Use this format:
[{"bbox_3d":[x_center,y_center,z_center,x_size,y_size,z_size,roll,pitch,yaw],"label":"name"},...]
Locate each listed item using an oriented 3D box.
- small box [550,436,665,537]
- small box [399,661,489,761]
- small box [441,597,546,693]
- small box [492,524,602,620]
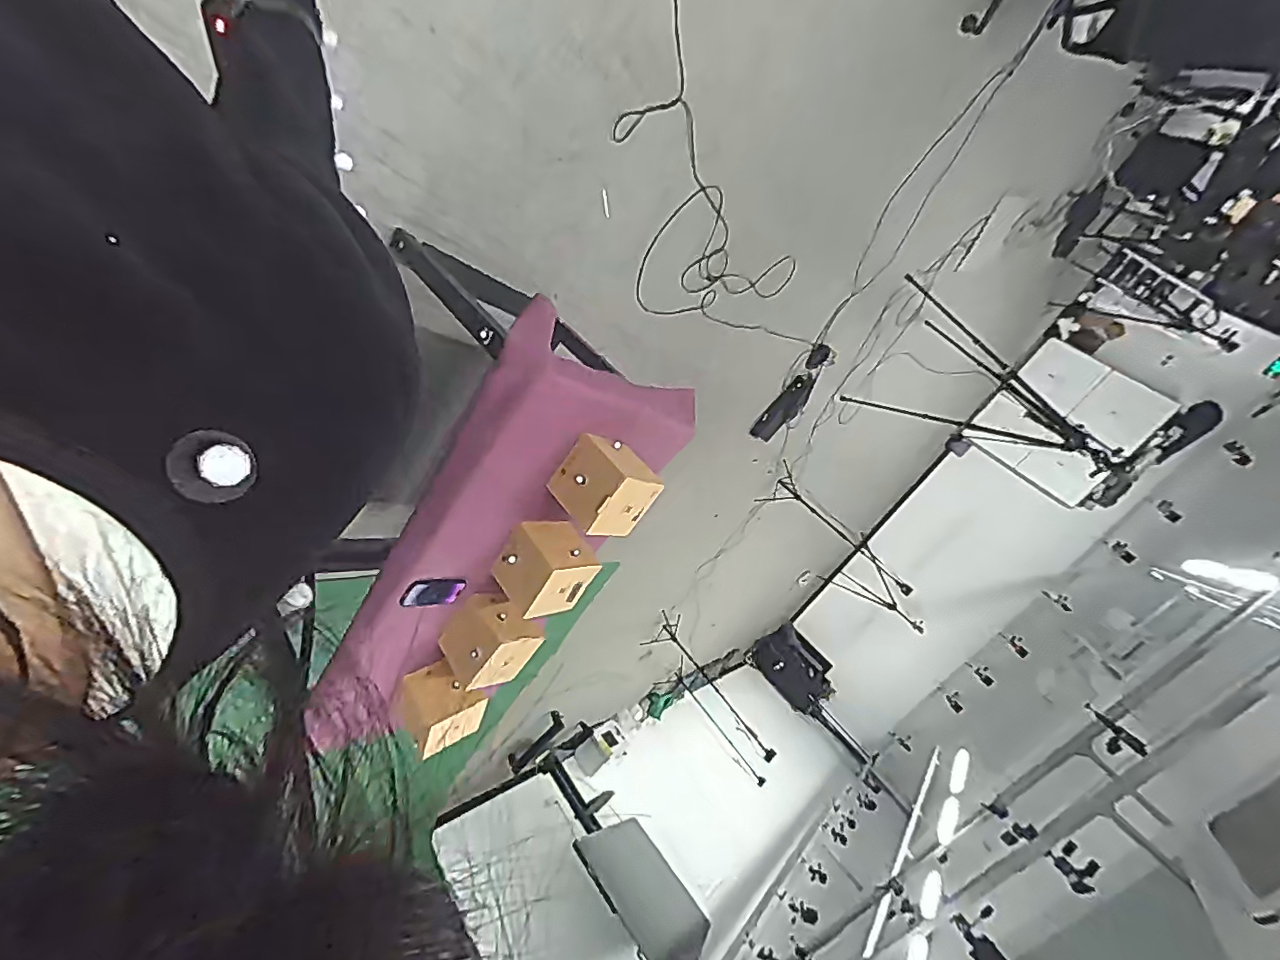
[{"bbox_3d":[-0.081,0.016,1.283,0.168,0.176,0.179,-53,150,15],"label":"small box"},{"bbox_3d":[-0.543,0.620,1.484,0.168,0.176,0.179,-15,140,-43],"label":"small box"},{"bbox_3d":[-0.390,0.421,1.420,0.179,0.176,0.168,-51,150,13],"label":"small box"},{"bbox_3d":[-0.235,0.223,1.357,0.179,0.176,0.168,5,124,-54],"label":"small box"}]
